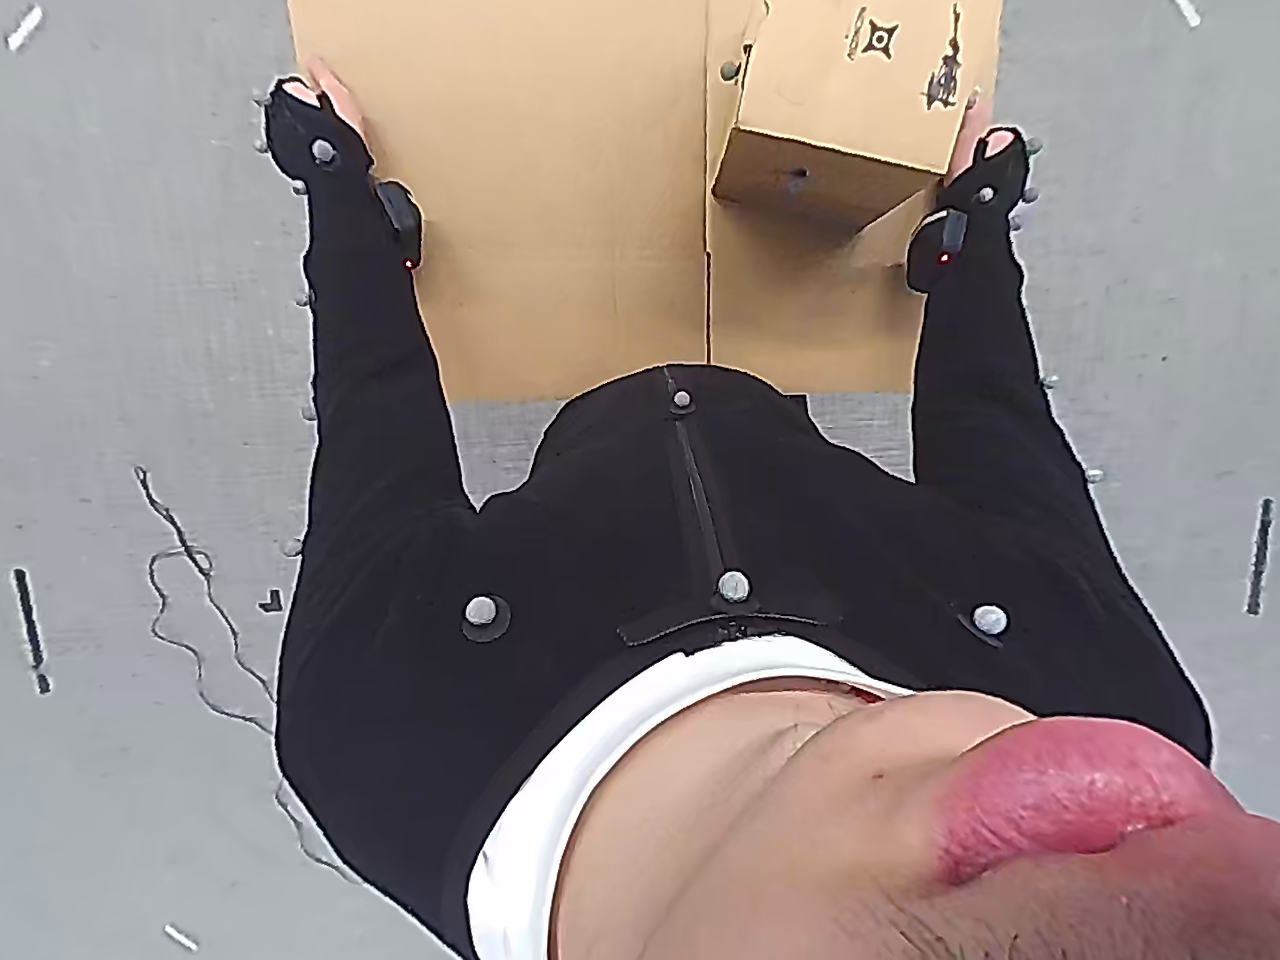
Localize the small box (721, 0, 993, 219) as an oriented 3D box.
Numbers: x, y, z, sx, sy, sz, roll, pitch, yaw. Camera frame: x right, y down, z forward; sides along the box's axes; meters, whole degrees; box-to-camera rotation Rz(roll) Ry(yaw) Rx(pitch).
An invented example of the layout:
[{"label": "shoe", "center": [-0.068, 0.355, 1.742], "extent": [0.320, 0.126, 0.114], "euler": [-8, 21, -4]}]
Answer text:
[{"label": "small box", "center": [0.180, -0.360, 0.497], "extent": [0.179, 0.176, 0.168], "euler": [12, 102, 0]}]
